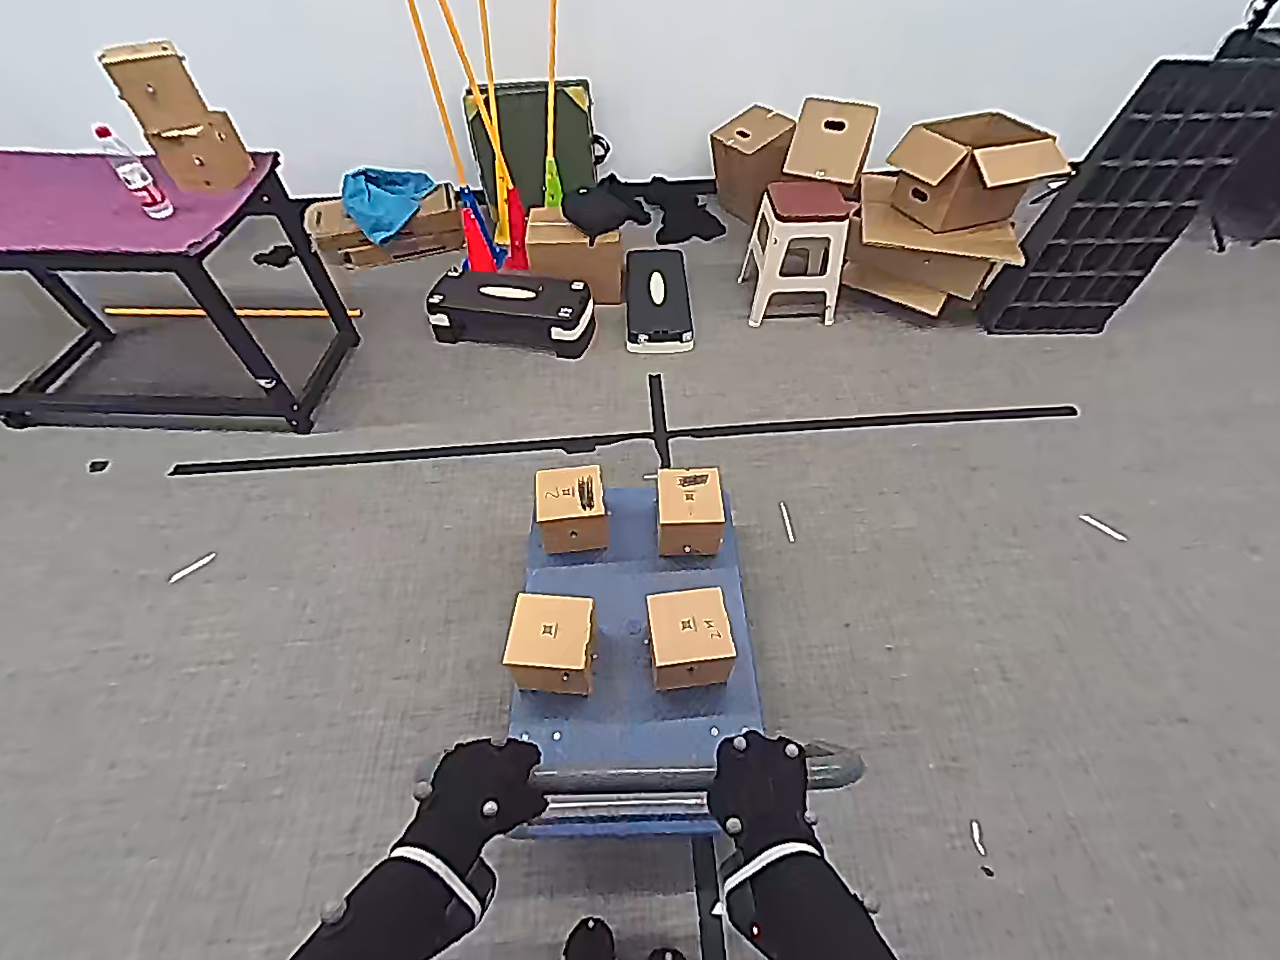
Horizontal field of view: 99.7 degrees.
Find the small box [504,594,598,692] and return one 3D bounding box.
[{"bbox_3d":[-0.198,0.381,1.253,0.179,0.176,0.168,4,52,2],"label":"small box"}]

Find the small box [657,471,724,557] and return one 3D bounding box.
[{"bbox_3d":[0.131,0.093,1.474,0.168,0.176,0.179,-1,53,0],"label":"small box"}]

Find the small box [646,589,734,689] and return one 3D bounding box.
[{"bbox_3d":[0.109,0.372,1.256,0.179,0.176,0.168,-5,52,-4],"label":"small box"}]
